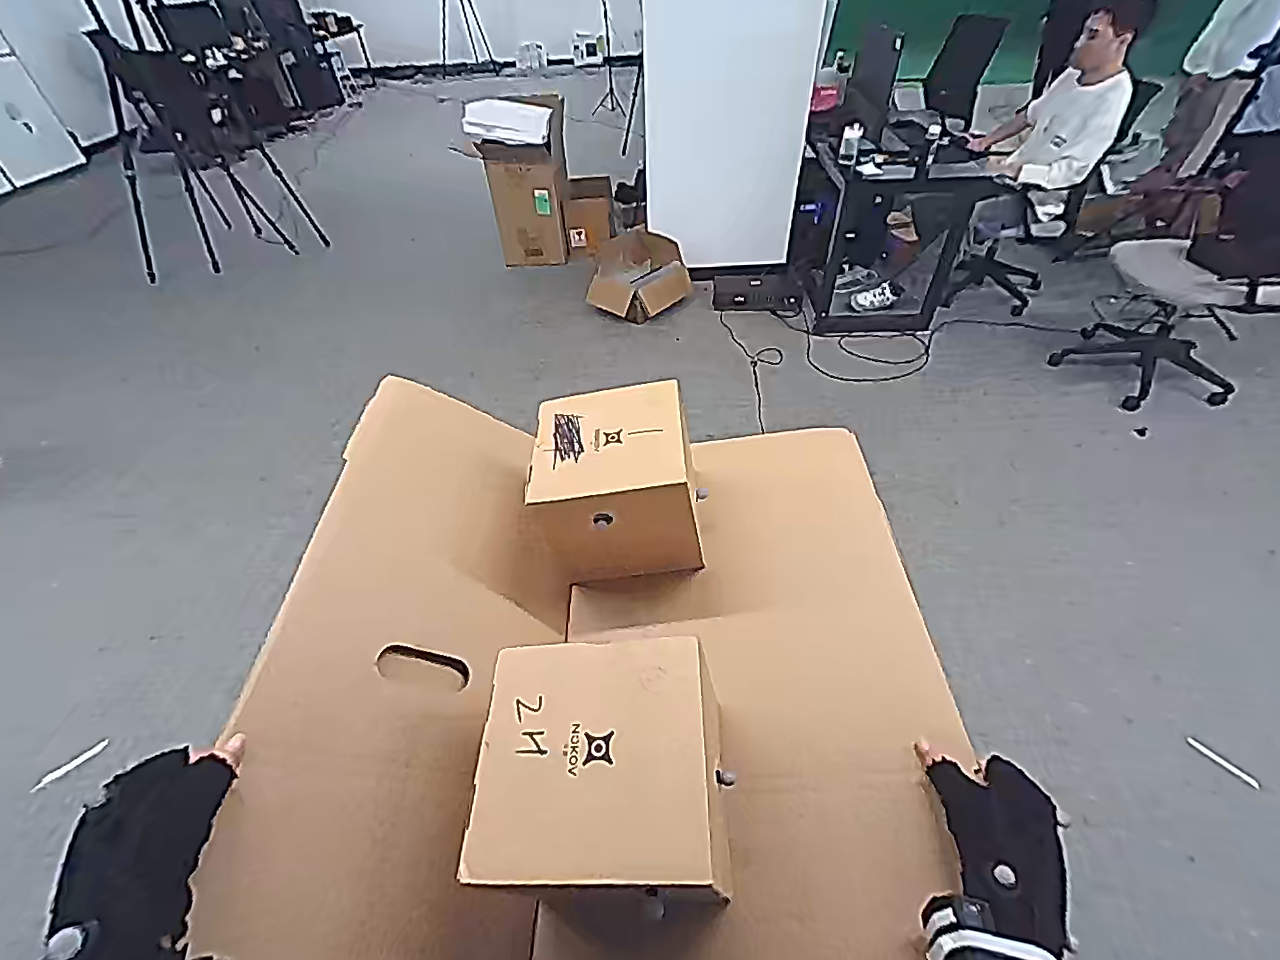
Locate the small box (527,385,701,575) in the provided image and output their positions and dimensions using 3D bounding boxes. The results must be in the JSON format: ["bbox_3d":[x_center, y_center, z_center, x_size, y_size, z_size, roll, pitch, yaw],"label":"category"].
[{"bbox_3d":[-0.024,0.007,0.686,0.179,0.176,0.168,-8,49,8],"label":"small box"}]
